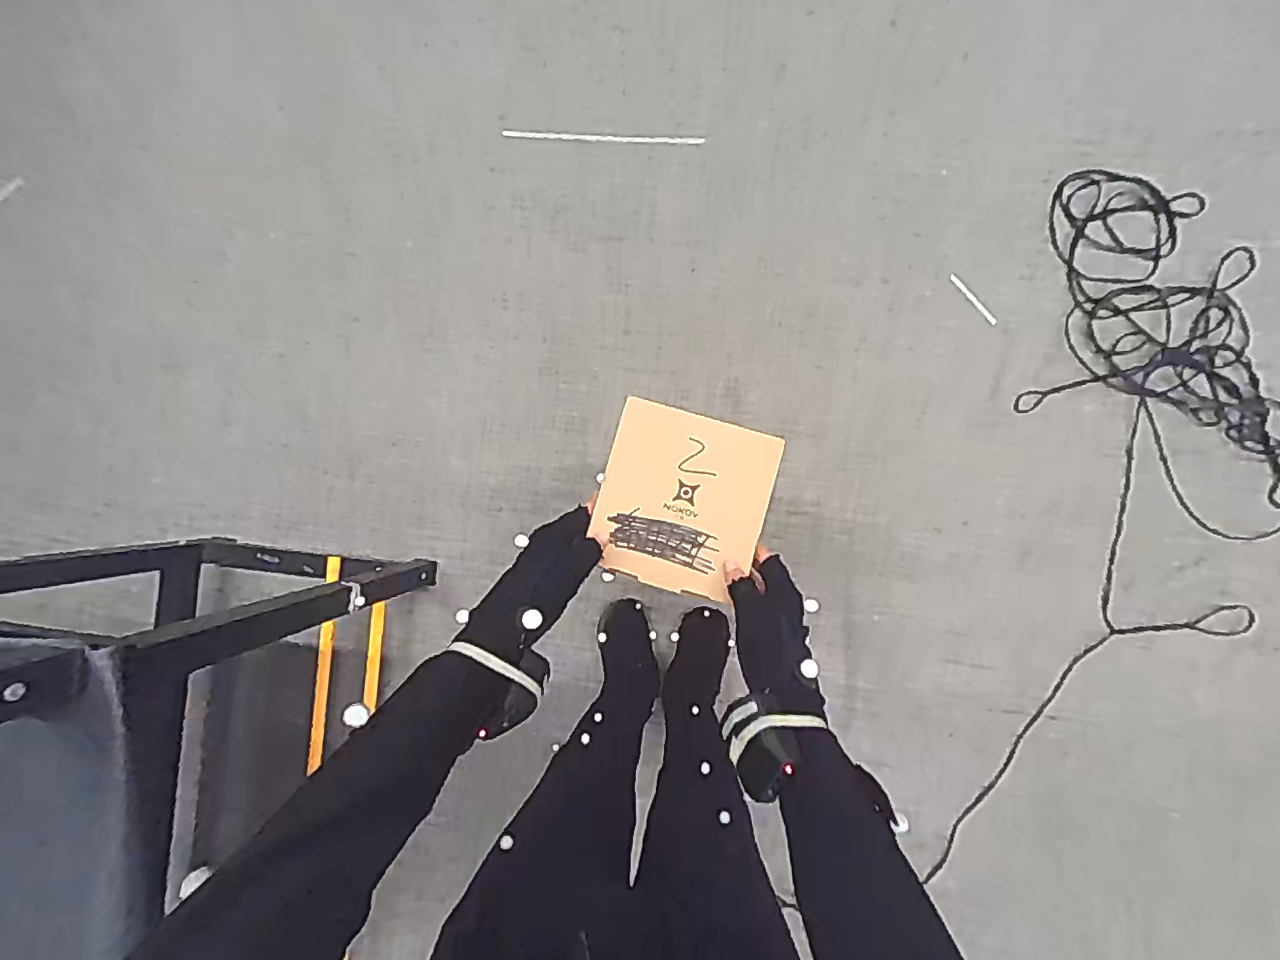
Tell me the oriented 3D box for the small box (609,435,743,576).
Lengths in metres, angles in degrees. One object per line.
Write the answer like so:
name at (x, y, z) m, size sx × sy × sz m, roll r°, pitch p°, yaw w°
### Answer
small box at (0.057, 0.035, 0.832) m, size 0.168 × 0.176 × 0.179 m, roll 9°, pitch 90°, yaw 5°
